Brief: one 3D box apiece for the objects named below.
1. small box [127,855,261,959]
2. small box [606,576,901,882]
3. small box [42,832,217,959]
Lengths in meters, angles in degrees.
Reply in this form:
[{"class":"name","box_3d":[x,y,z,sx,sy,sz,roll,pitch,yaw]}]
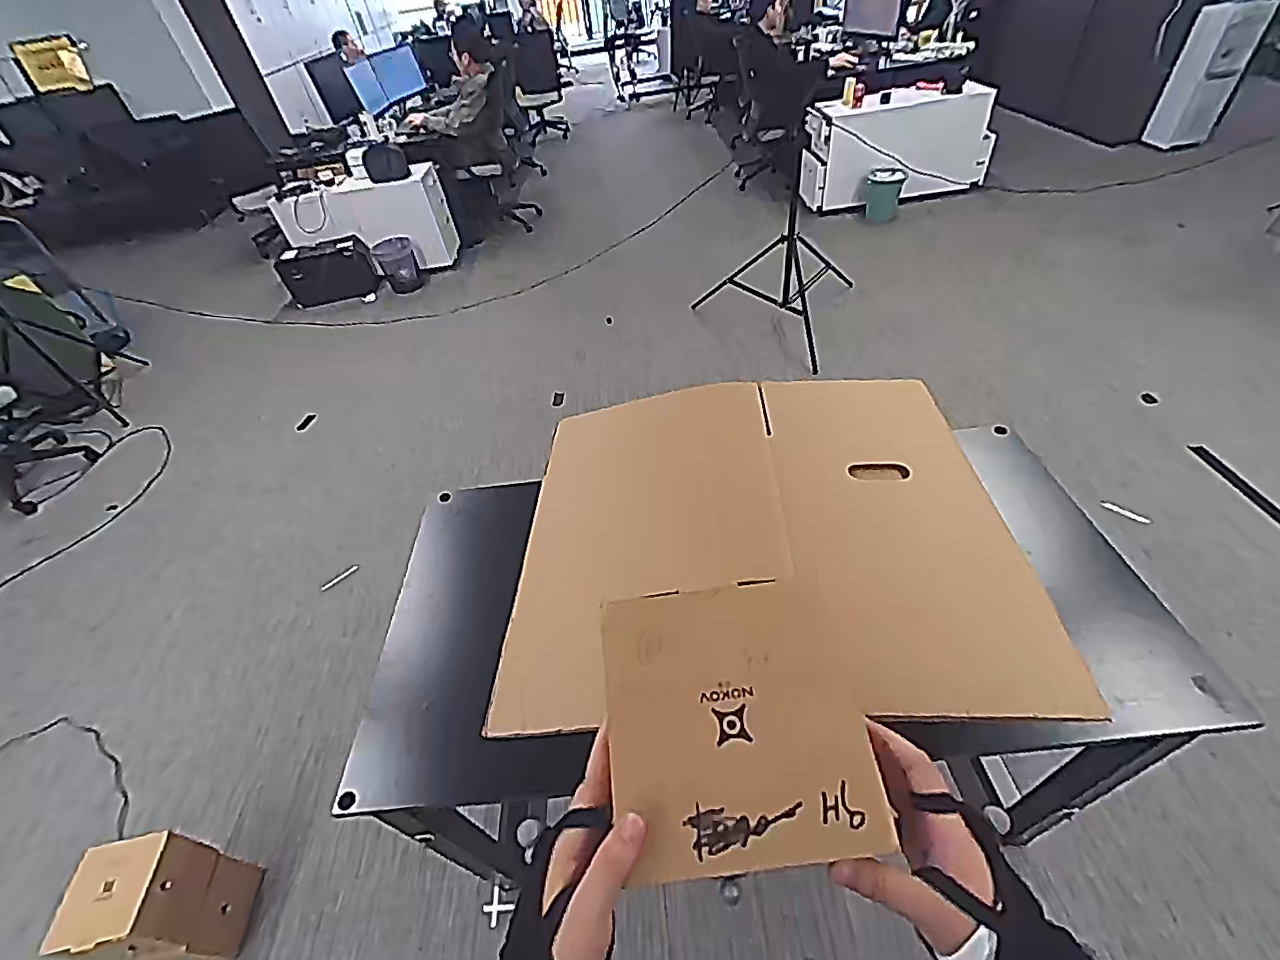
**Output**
[{"class":"small box","box_3d":[-1.003,0.978,1.218,0.168,0.176,0.179,-10,45,0]},{"class":"small box","box_3d":[0.068,0.197,0.422,0.168,0.176,0.179,-8,55,1]},{"class":"small box","box_3d":[-1.025,0.859,1.109,0.168,0.176,0.179,-11,43,-3]}]
